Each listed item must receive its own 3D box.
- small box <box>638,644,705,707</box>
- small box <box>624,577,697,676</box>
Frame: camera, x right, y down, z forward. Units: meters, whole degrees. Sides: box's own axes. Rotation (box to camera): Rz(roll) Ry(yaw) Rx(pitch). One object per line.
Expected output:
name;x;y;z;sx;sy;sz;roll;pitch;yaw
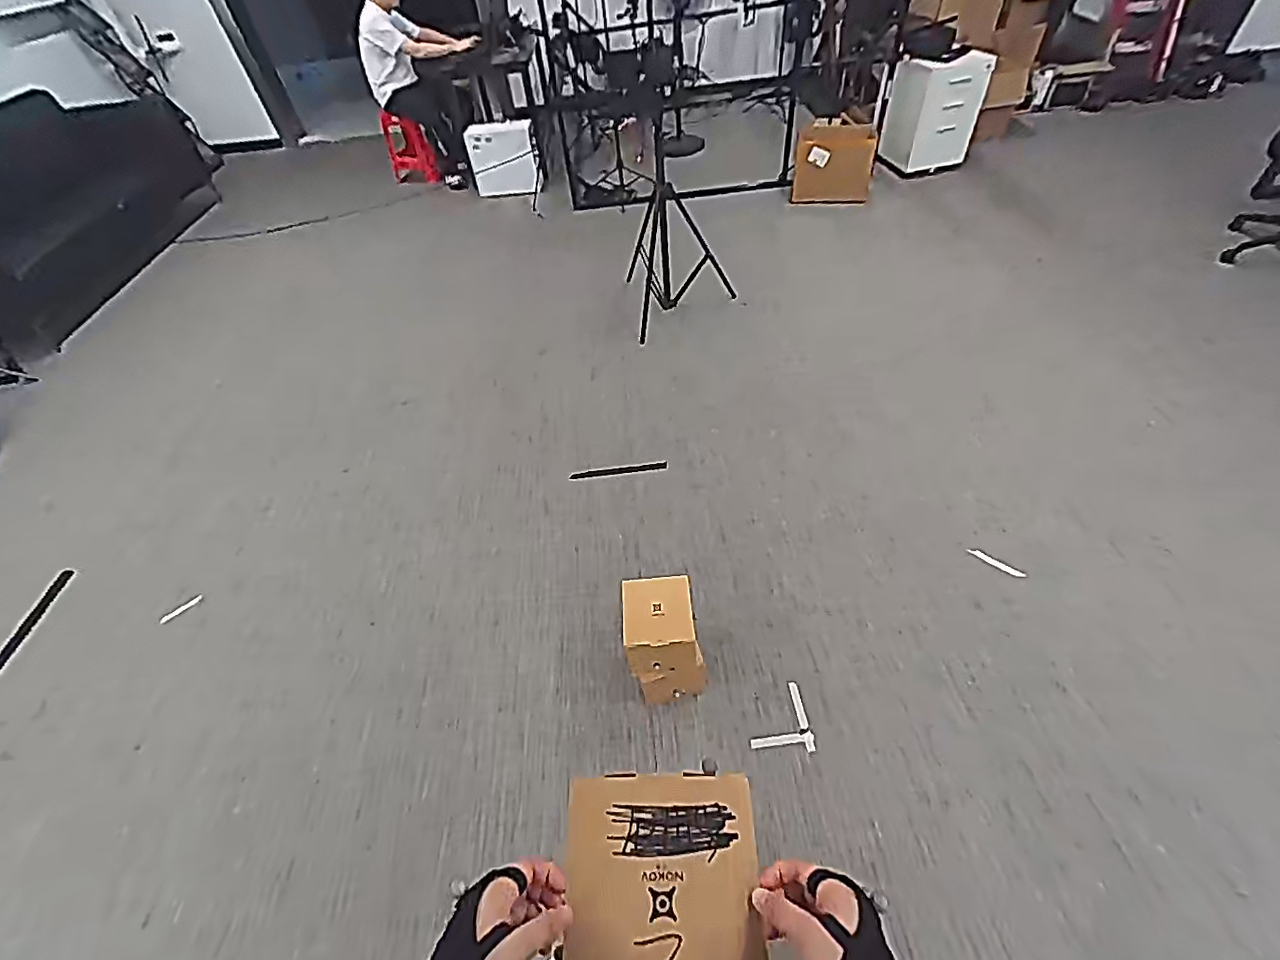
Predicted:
small box;0.069;0.474;1.446;0.168;0.176;0.179;-15;48;-6
small box;0.048;0.362;1.330;0.168;0.176;0.179;-5;48;2
